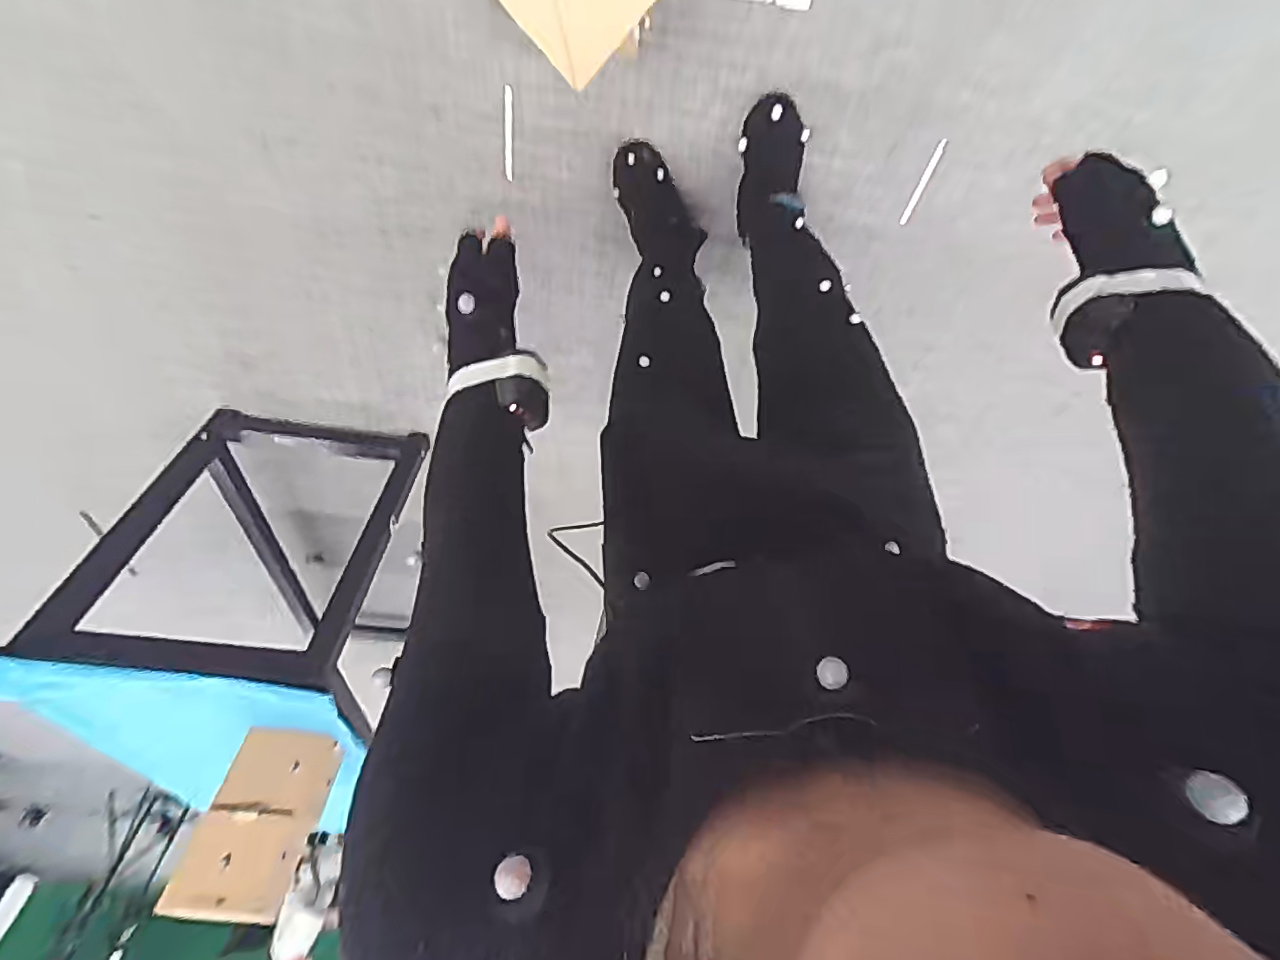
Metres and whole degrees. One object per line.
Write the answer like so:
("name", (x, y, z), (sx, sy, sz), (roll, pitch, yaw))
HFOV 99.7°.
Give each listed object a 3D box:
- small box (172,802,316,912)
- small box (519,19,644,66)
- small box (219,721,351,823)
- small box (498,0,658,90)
("small box", (-0.817, 0.791, 1.128), (0.168, 0.176, 0.179), (10, 138, -6))
("small box", (-0.074, -0.745, 0.797), (0.179, 0.176, 0.168), (9, 135, -7))
("small box", (-0.807, 0.678, 1.246), (0.179, 0.176, 0.168), (8, 136, -5))
("small box", (-0.075, -0.633, 0.671), (0.168, 0.176, 0.179), (-34, 125, 30))
